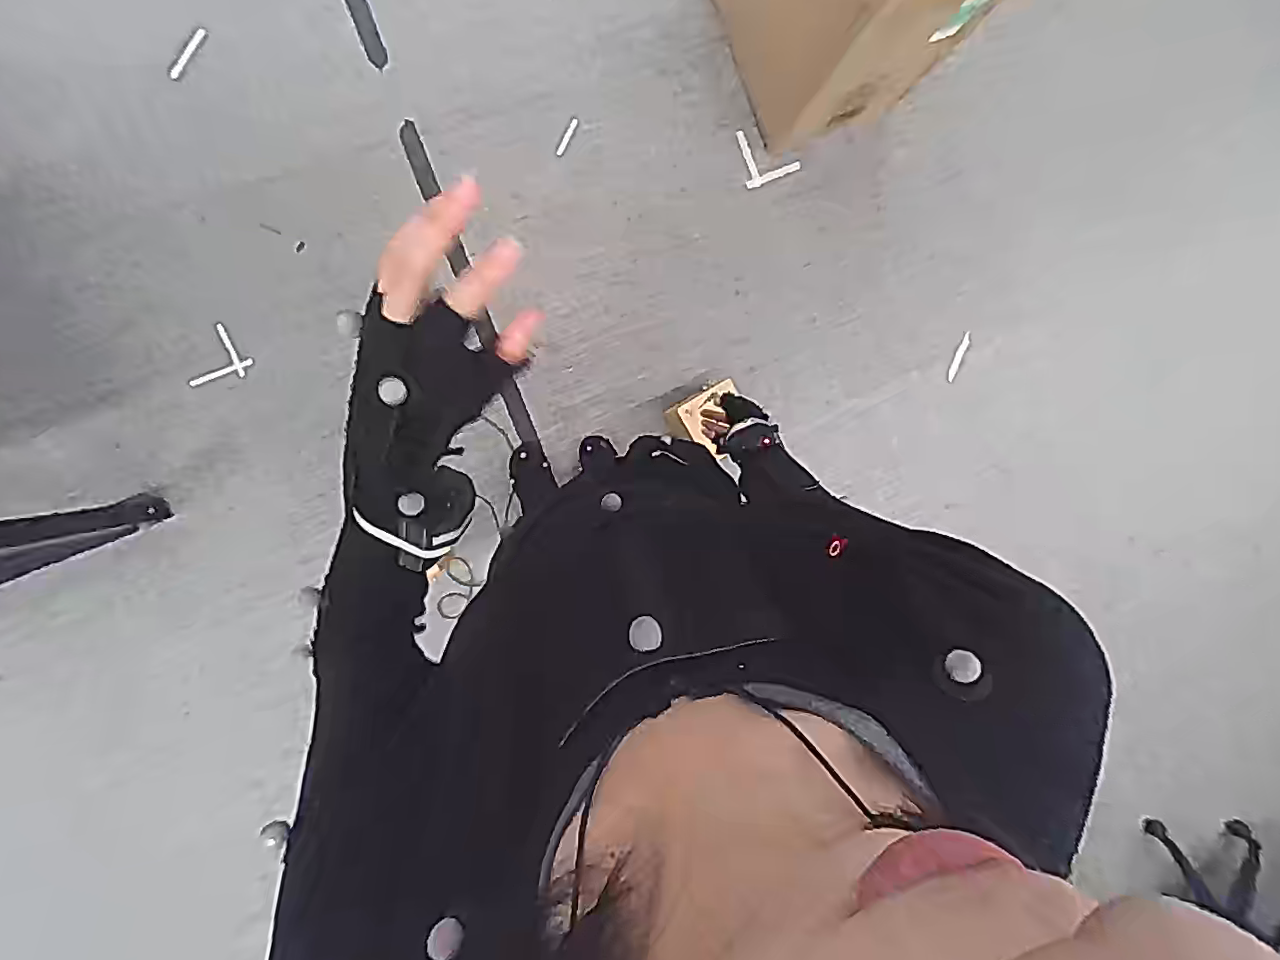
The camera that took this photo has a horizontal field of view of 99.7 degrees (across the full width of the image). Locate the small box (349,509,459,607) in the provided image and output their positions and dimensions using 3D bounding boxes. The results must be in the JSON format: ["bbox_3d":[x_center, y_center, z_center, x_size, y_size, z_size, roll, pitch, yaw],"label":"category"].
[{"bbox_3d":[-0.586,0.188,1.372,0.168,0.176,0.179,-34,95,-6],"label":"small box"}]

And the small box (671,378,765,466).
[{"bbox_3d":[0.206,-0.156,1.468,0.168,0.176,0.179,-31,98,-5],"label":"small box"}]
